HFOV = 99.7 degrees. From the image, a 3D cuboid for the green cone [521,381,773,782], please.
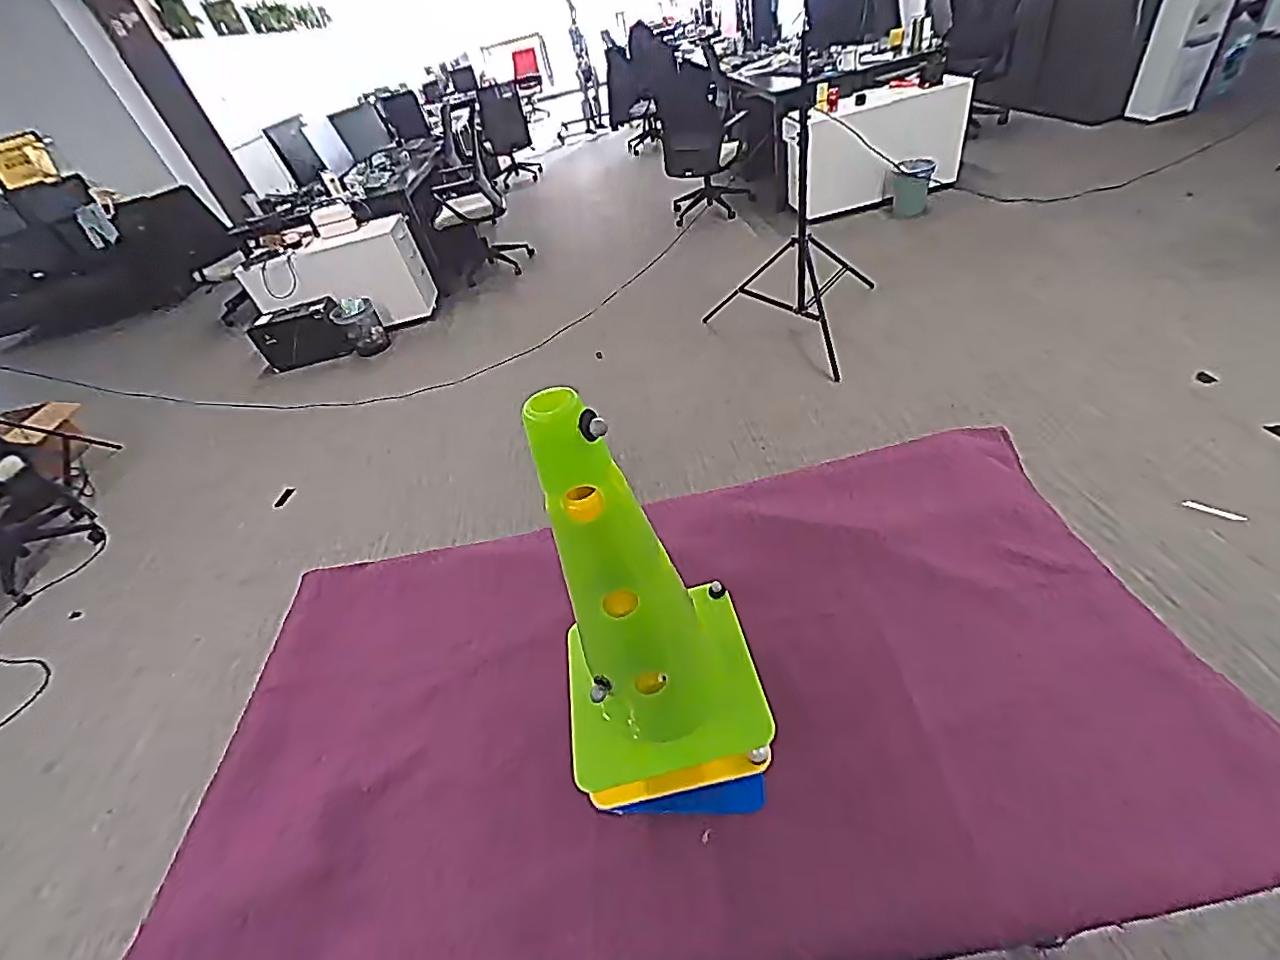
[{"bbox_3d":[-0.021,0.074,0.470,0.200,0.368,0.202,-17,40,2],"label":"green cone"}]
